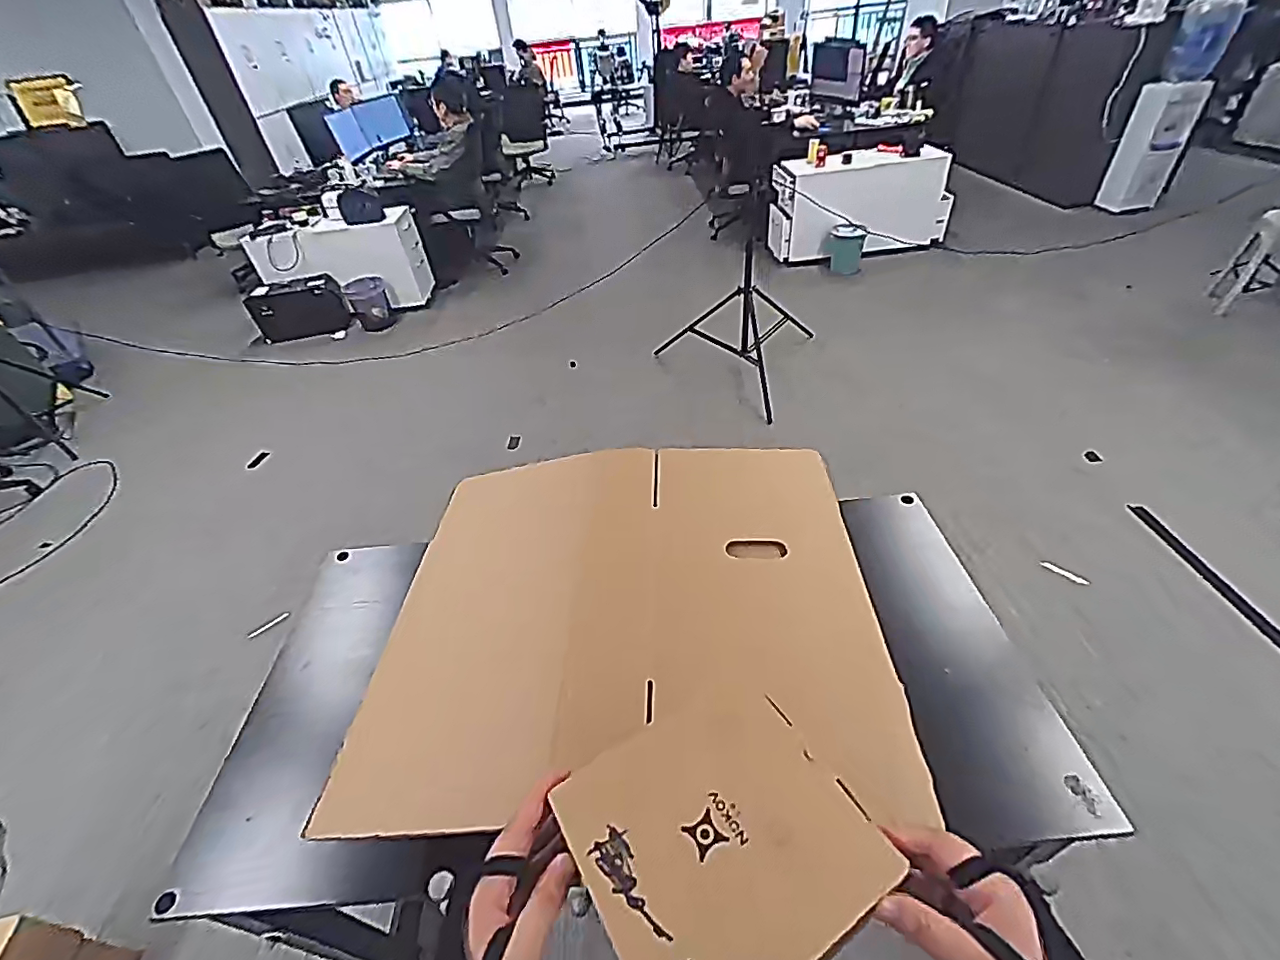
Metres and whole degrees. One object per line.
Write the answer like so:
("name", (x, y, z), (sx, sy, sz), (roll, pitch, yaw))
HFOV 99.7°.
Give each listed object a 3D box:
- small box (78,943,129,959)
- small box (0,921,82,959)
("small box", (-1.216, 1.096, 1.116), (0.168, 0.176, 0.179), (-9, 41, -2))
("small box", (-1.231, 0.970, 1.015), (0.168, 0.176, 0.179), (-10, 40, -4))
